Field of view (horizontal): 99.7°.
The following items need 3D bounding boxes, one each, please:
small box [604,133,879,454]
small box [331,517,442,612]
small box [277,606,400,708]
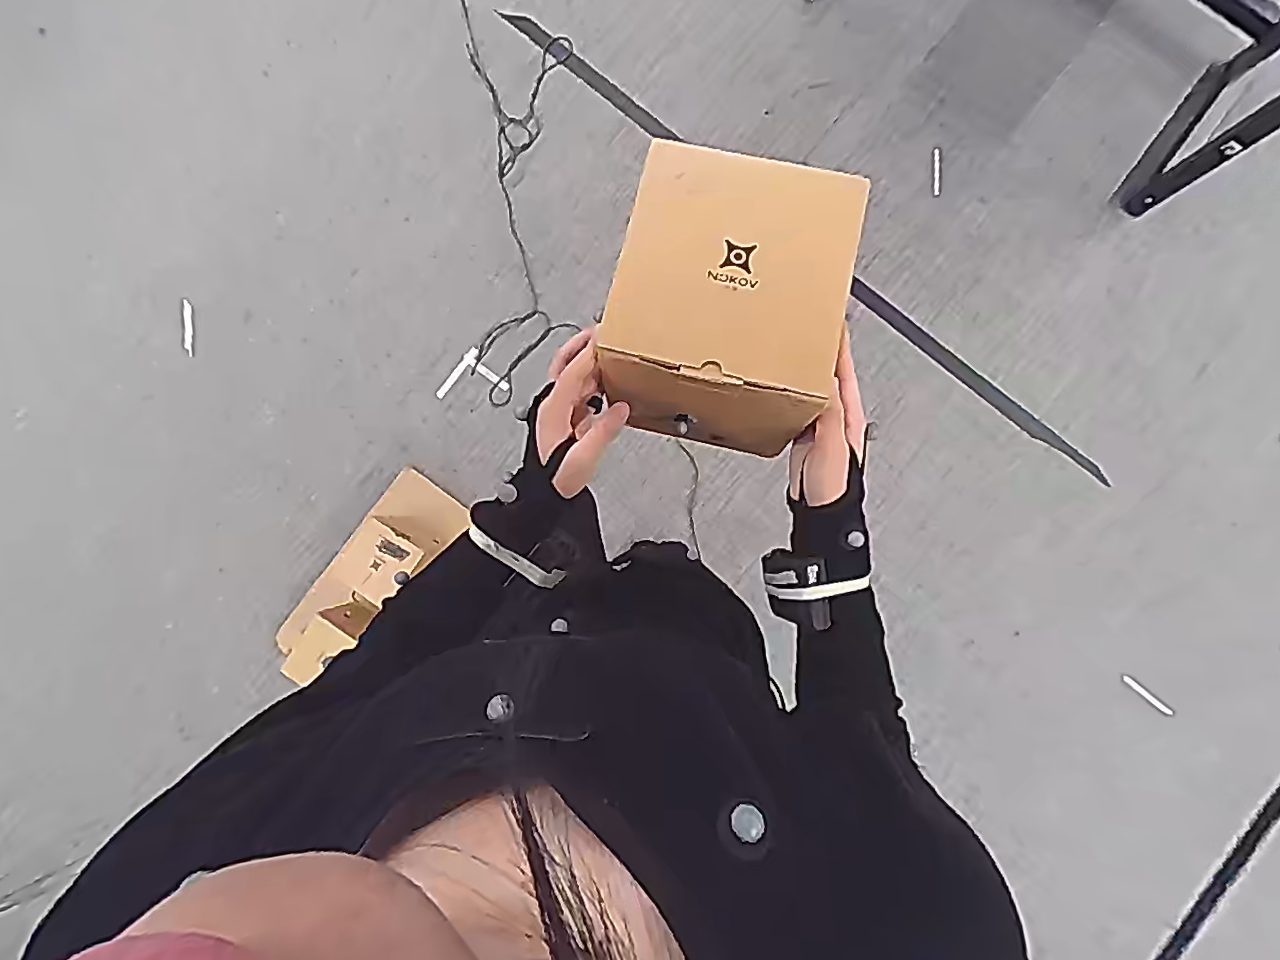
[{"bbox_3d":[0.074,-0.138,0.454,0.168,0.176,0.179,13,80,4],"label":"small box"},{"bbox_3d":[-0.640,0.209,1.395,0.168,0.176,0.179,33,87,2],"label":"small box"},{"bbox_3d":[-0.760,0.440,1.382,0.179,0.176,0.168,32,88,2],"label":"small box"}]
